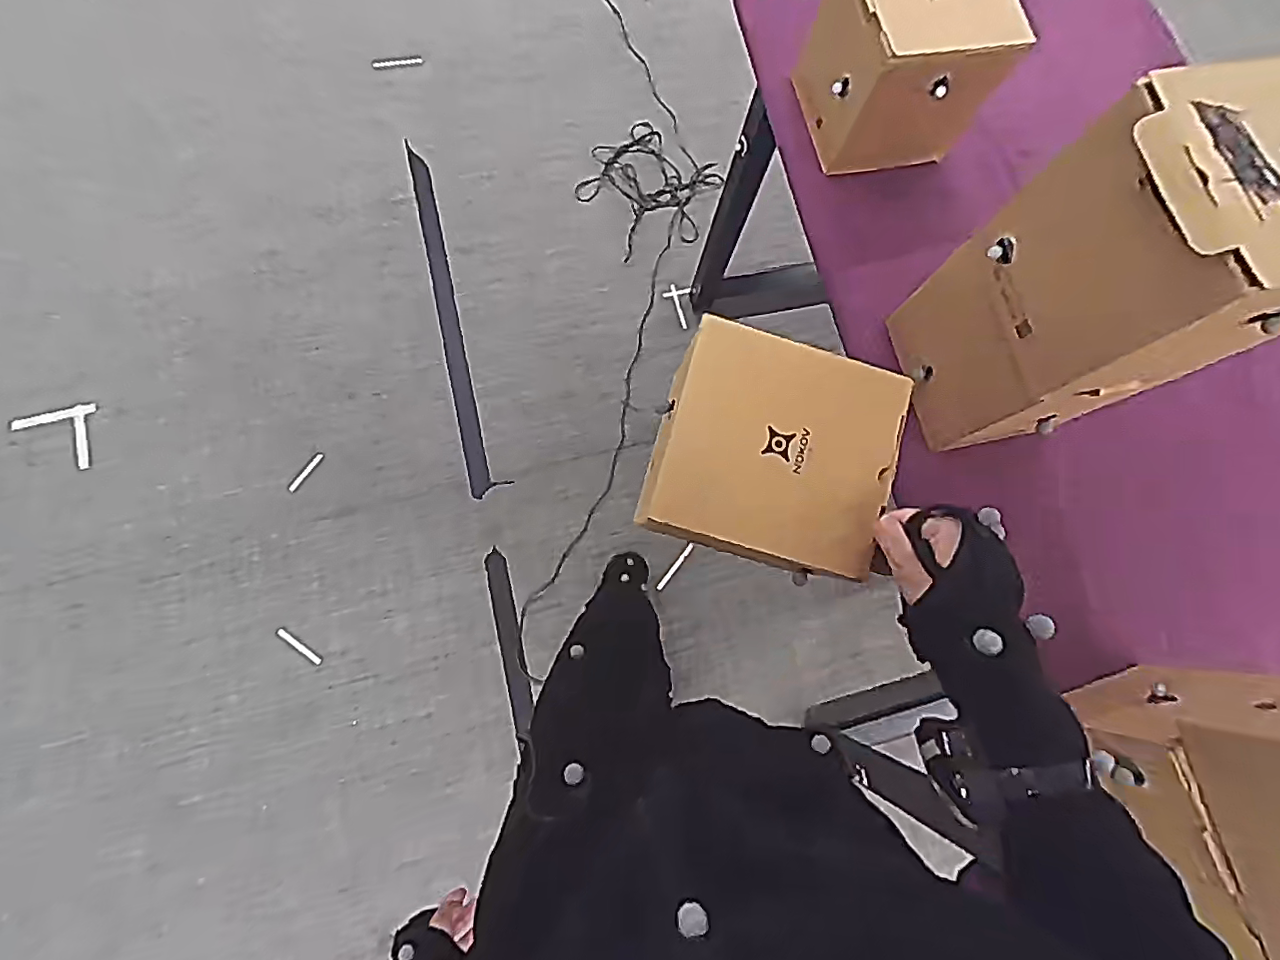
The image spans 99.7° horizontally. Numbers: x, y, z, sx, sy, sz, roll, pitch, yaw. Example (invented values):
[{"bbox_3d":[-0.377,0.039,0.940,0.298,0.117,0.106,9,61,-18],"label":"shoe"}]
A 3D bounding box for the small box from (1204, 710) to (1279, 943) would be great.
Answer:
[{"bbox_3d":[0.525,0.237,0.332,0.168,0.176,0.179,-10,77,-8],"label":"small box"}]

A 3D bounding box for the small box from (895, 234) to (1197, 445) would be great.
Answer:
[{"bbox_3d":[0.413,-0.145,0.583,0.168,0.176,0.179,-11,79,-8],"label":"small box"}]

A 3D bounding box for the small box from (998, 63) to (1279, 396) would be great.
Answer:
[{"bbox_3d":[0.423,-0.178,0.421,0.179,0.176,0.168,-11,78,-8],"label":"small box"}]

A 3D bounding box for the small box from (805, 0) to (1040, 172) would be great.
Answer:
[{"bbox_3d":[0.321,-0.508,0.660,0.179,0.176,0.168,-11,80,-9],"label":"small box"}]
